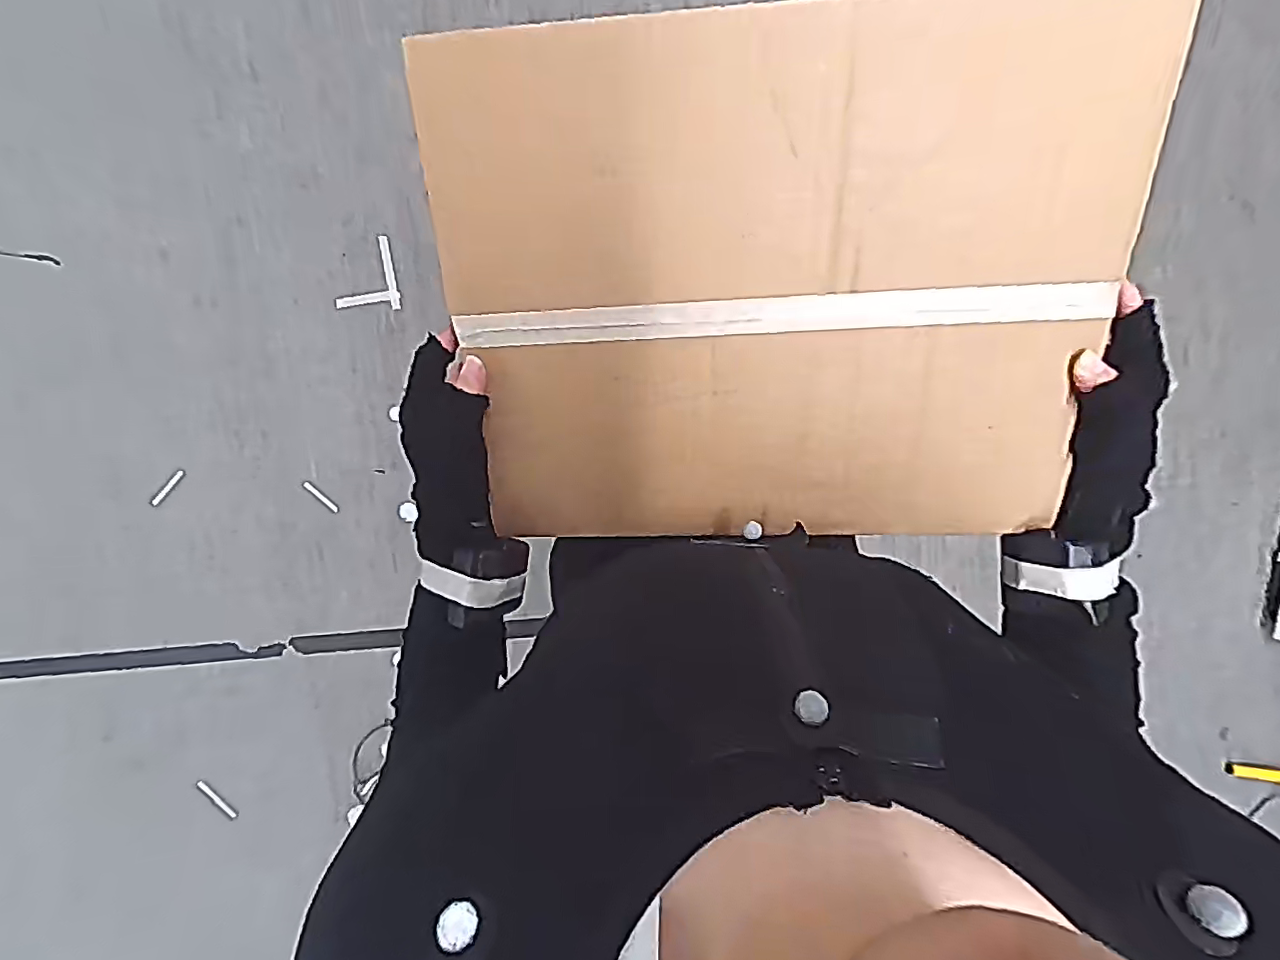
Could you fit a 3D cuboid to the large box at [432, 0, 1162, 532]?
[{"bbox_3d":[0.092,-0.164,0.491,0.408,0.320,0.320,-1,115,5],"label":"large box"}]
